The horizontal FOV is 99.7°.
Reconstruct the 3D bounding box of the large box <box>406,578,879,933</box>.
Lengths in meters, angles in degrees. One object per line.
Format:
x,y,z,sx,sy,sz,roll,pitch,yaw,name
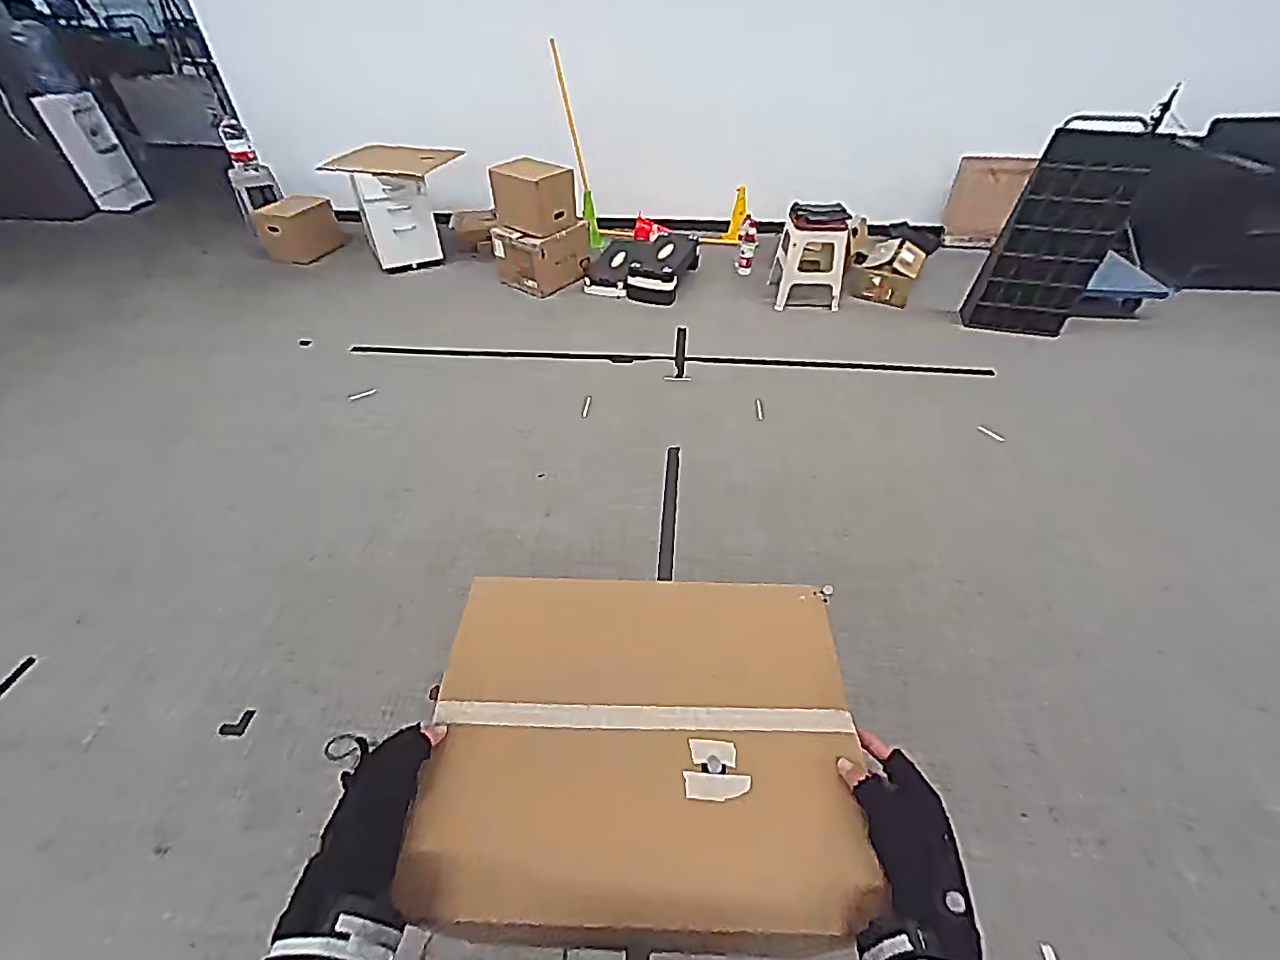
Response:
0.002,0.336,0.655,0.408,0.320,0.320,2,48,1,large box
